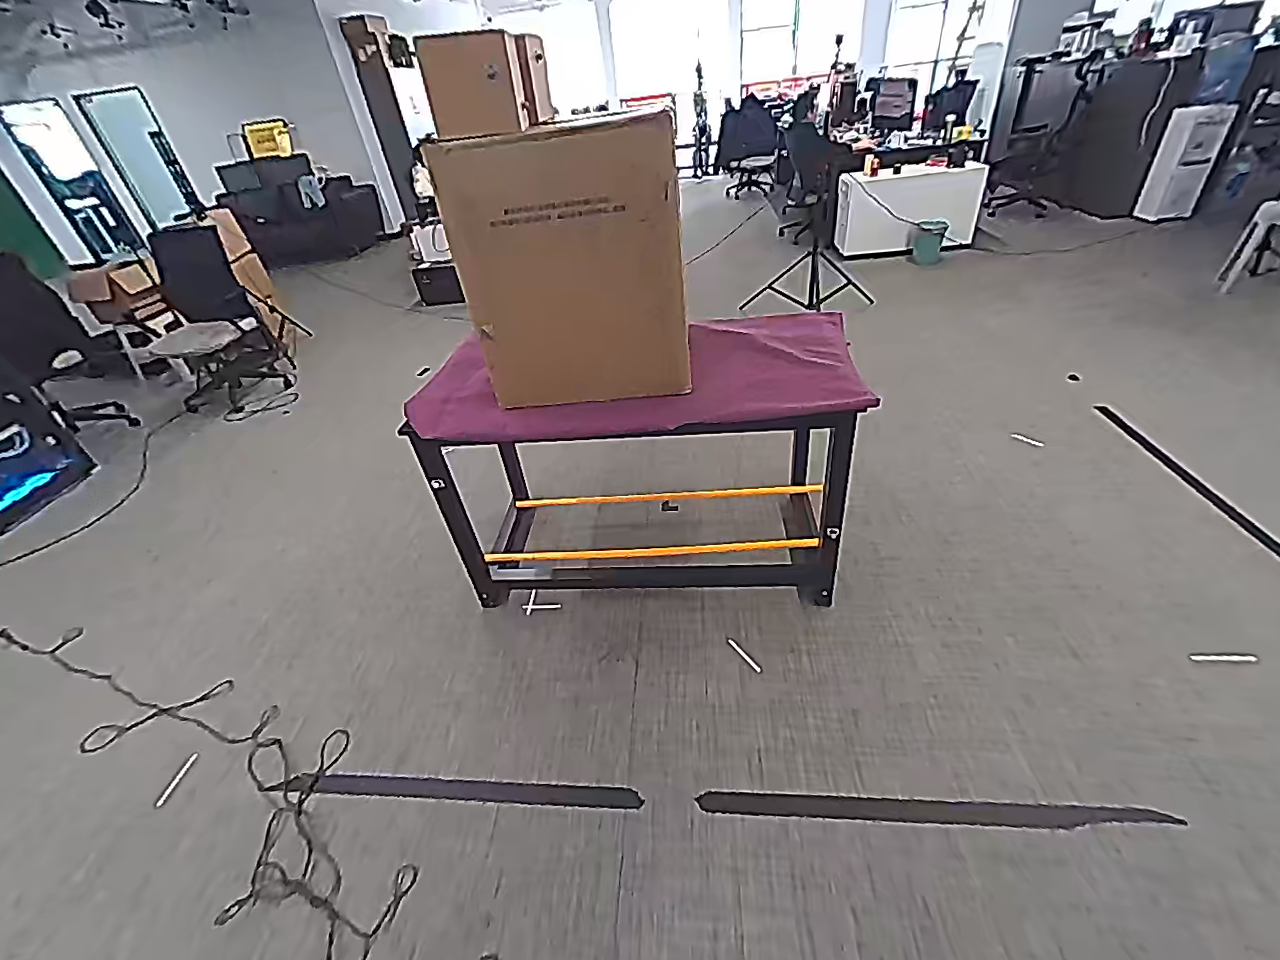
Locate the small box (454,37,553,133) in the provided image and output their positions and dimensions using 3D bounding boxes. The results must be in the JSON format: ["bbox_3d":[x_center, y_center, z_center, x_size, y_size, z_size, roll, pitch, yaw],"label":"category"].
[{"bbox_3d":[-0.317,-0.941,1.296,0.168,0.176,0.179,-1,36,7],"label":"small box"}]
